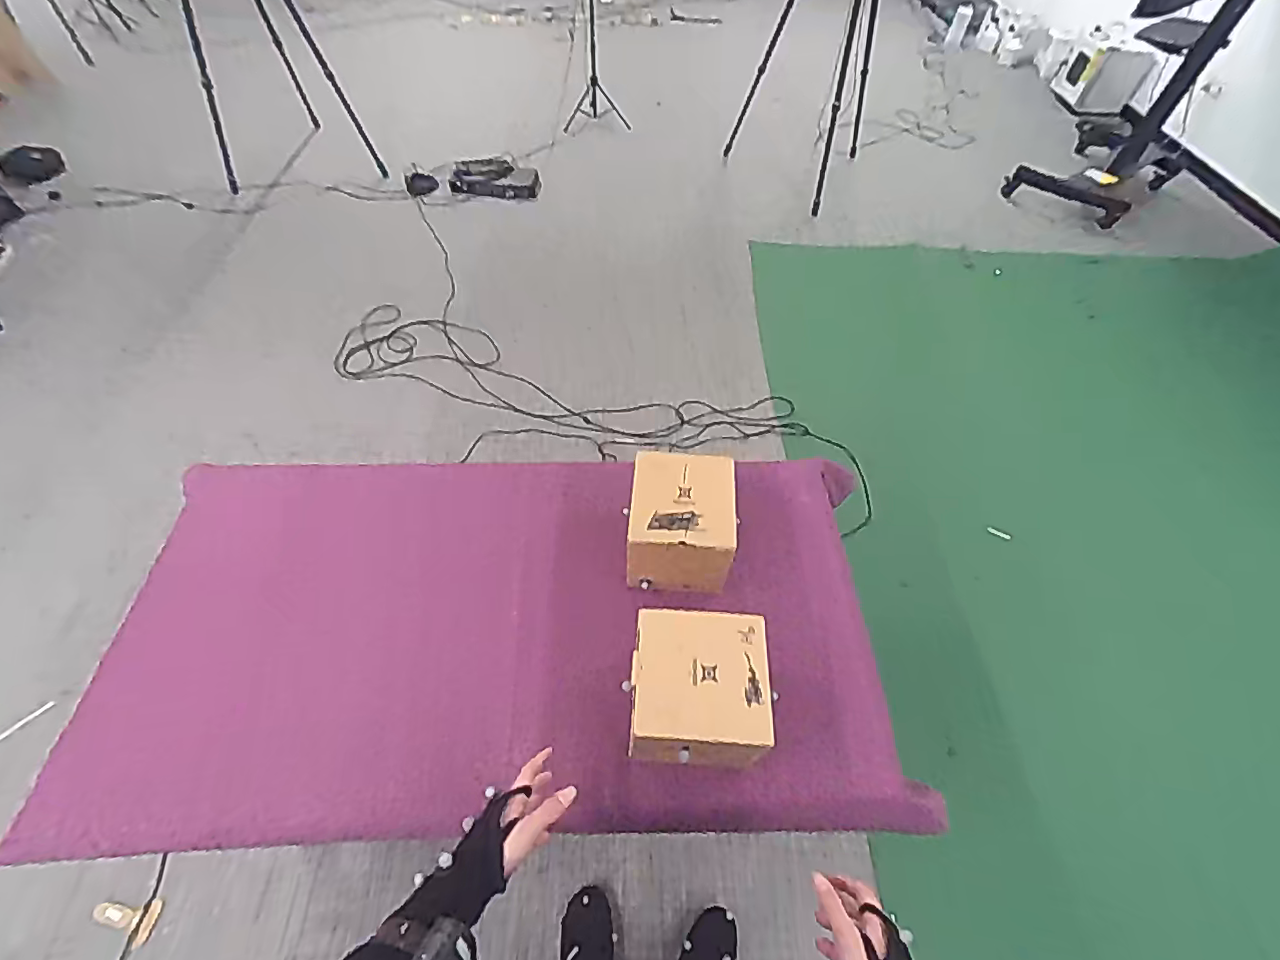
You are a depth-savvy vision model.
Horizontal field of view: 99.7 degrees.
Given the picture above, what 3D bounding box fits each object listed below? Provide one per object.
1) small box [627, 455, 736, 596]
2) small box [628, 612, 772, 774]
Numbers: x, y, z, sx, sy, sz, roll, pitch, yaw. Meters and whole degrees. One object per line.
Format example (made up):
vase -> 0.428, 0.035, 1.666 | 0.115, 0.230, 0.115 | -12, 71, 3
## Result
small box -> 0.068, 0.082, 0.916 | 0.168, 0.176, 0.179 | 5, 54, 2
small box -> 0.077, 0.301, 0.755 | 0.179, 0.176, 0.168 | 4, 53, 2
